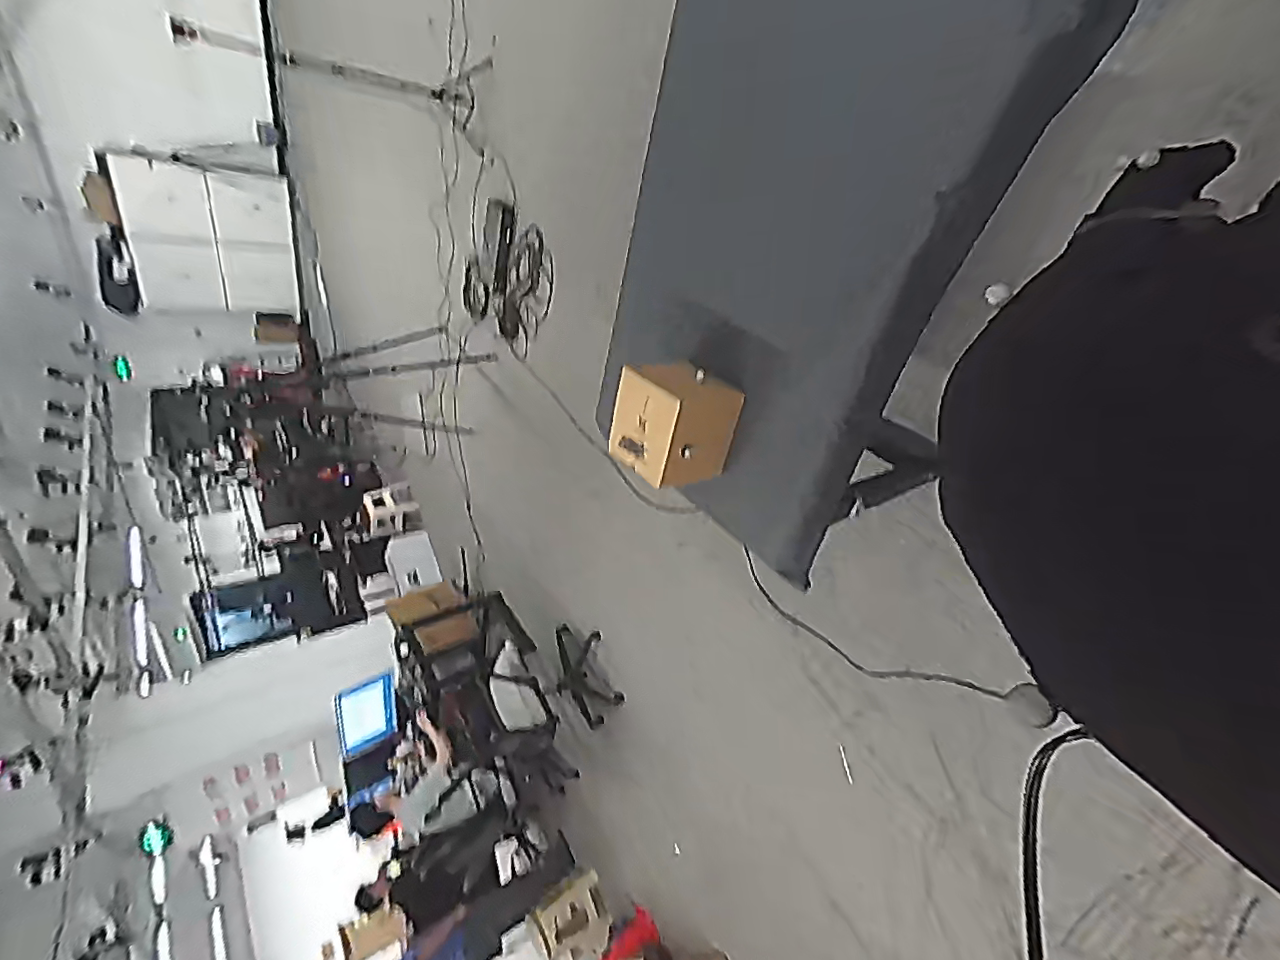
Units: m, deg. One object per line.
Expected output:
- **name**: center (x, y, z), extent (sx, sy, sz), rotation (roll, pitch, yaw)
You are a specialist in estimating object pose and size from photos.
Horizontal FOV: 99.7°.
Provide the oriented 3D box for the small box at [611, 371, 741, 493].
- **small box**: center (0.068, -0.099, 1.044), extent (0.168, 0.176, 0.179), rotation (39, 127, 39)
